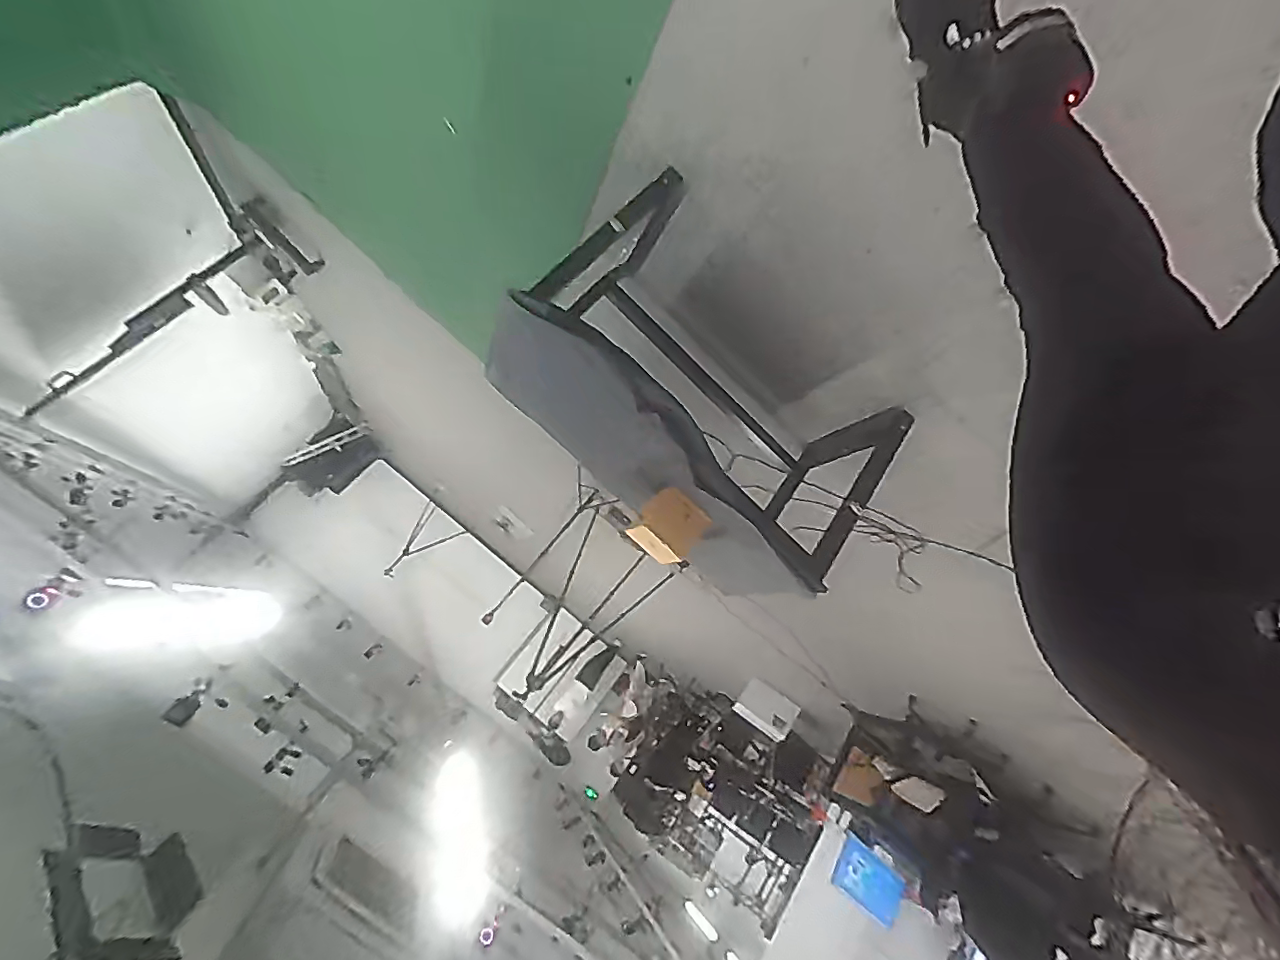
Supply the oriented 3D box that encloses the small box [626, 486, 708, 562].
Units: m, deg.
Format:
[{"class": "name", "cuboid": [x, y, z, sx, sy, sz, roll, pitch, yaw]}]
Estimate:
[{"class": "small box", "cuboid": [0.088, 0.141, 1.723, 0.168, 0.176, 0.179, 43, 157, -8]}]
